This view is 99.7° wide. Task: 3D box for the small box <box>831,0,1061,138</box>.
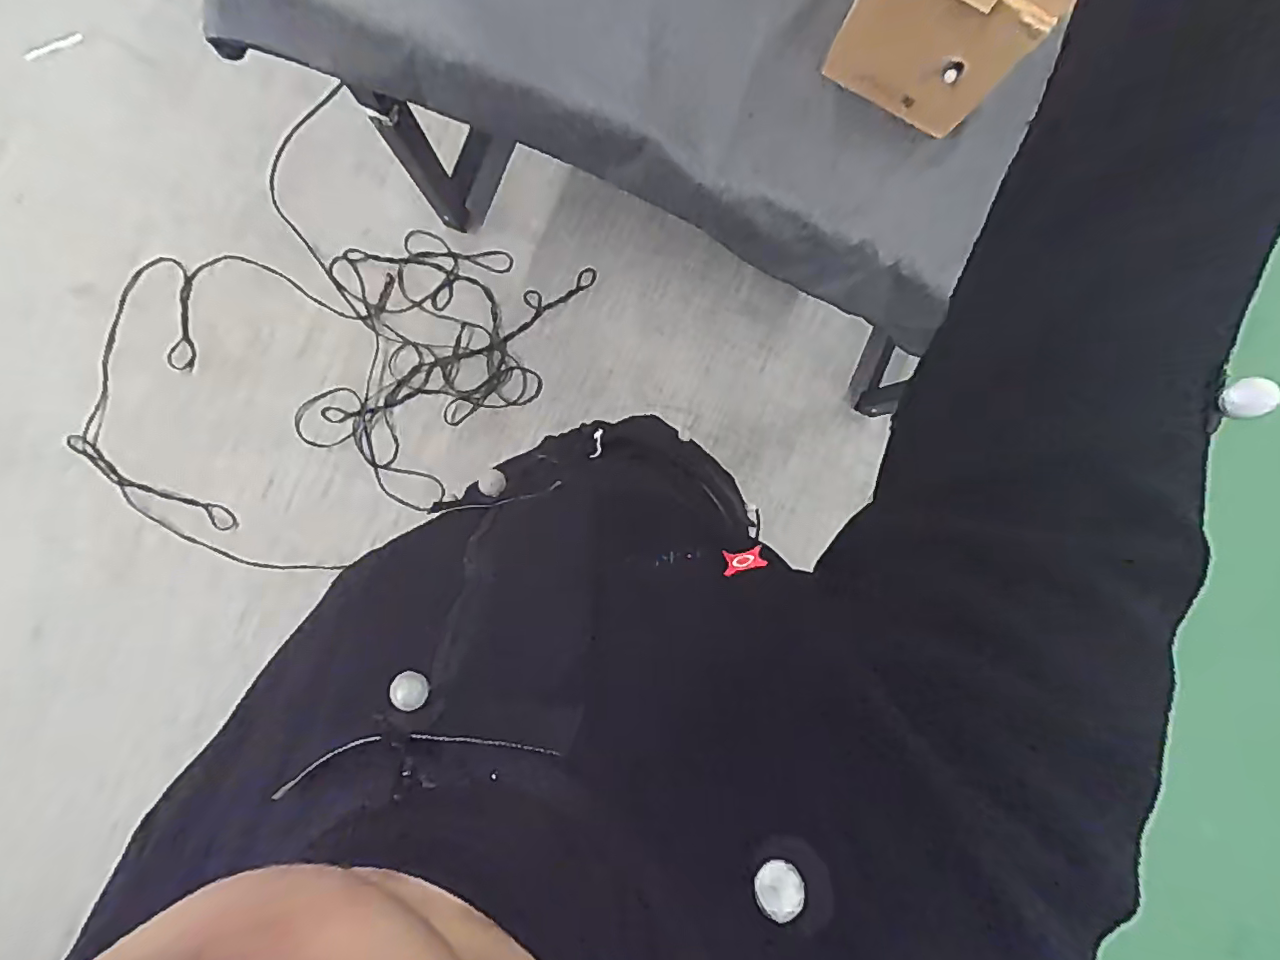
[{"bbox_3d":[0.324,-0.506,0.557,0.168,0.176,0.179,26,89,-5],"label":"small box"}]
